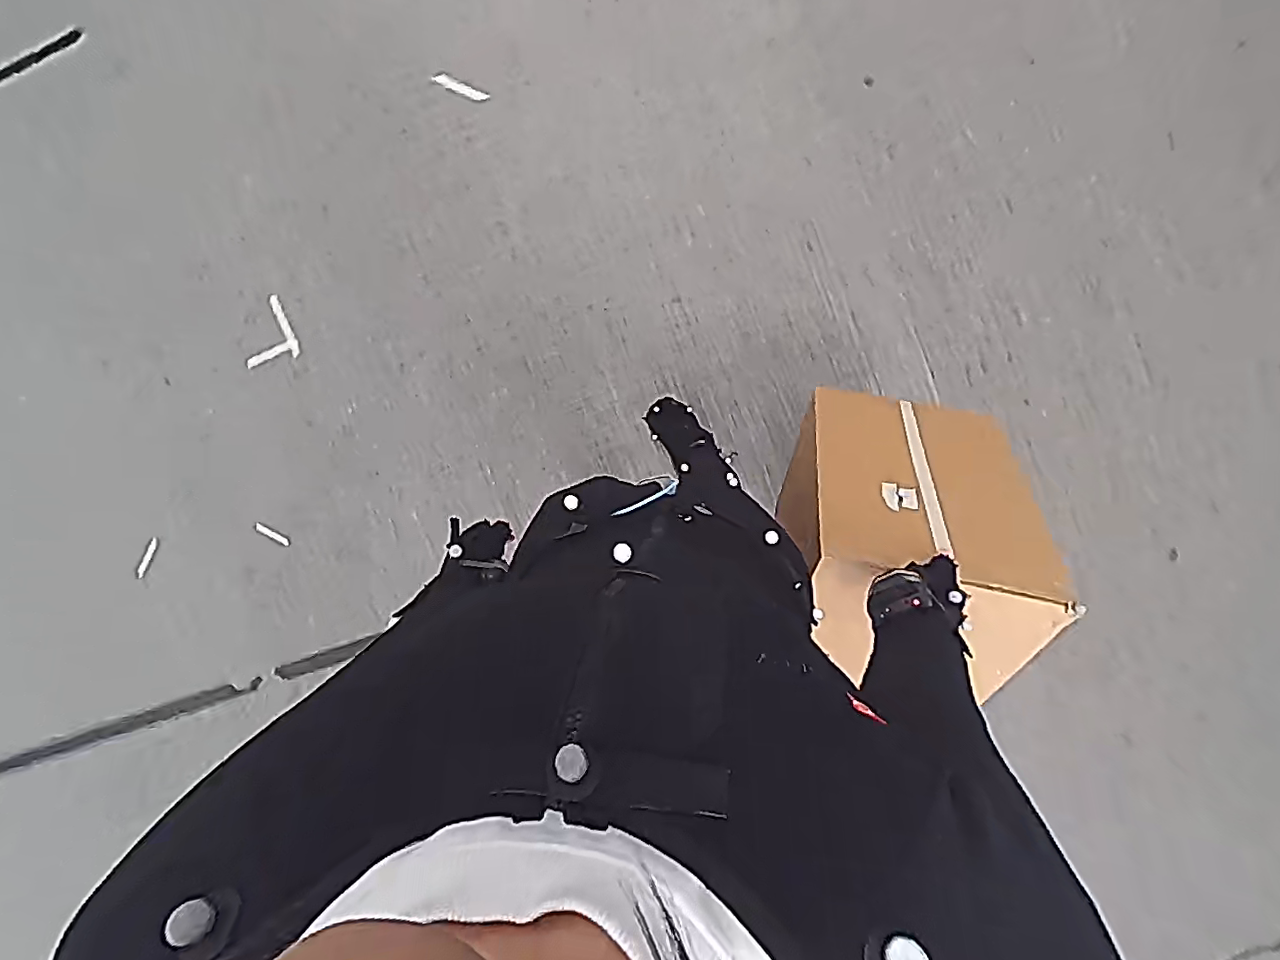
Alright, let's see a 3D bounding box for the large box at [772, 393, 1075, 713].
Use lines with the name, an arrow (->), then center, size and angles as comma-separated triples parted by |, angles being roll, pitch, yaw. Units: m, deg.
large box -> 0.412, 0.109, 0.918 | 0.320, 0.408, 0.320 | 10, 134, 7
